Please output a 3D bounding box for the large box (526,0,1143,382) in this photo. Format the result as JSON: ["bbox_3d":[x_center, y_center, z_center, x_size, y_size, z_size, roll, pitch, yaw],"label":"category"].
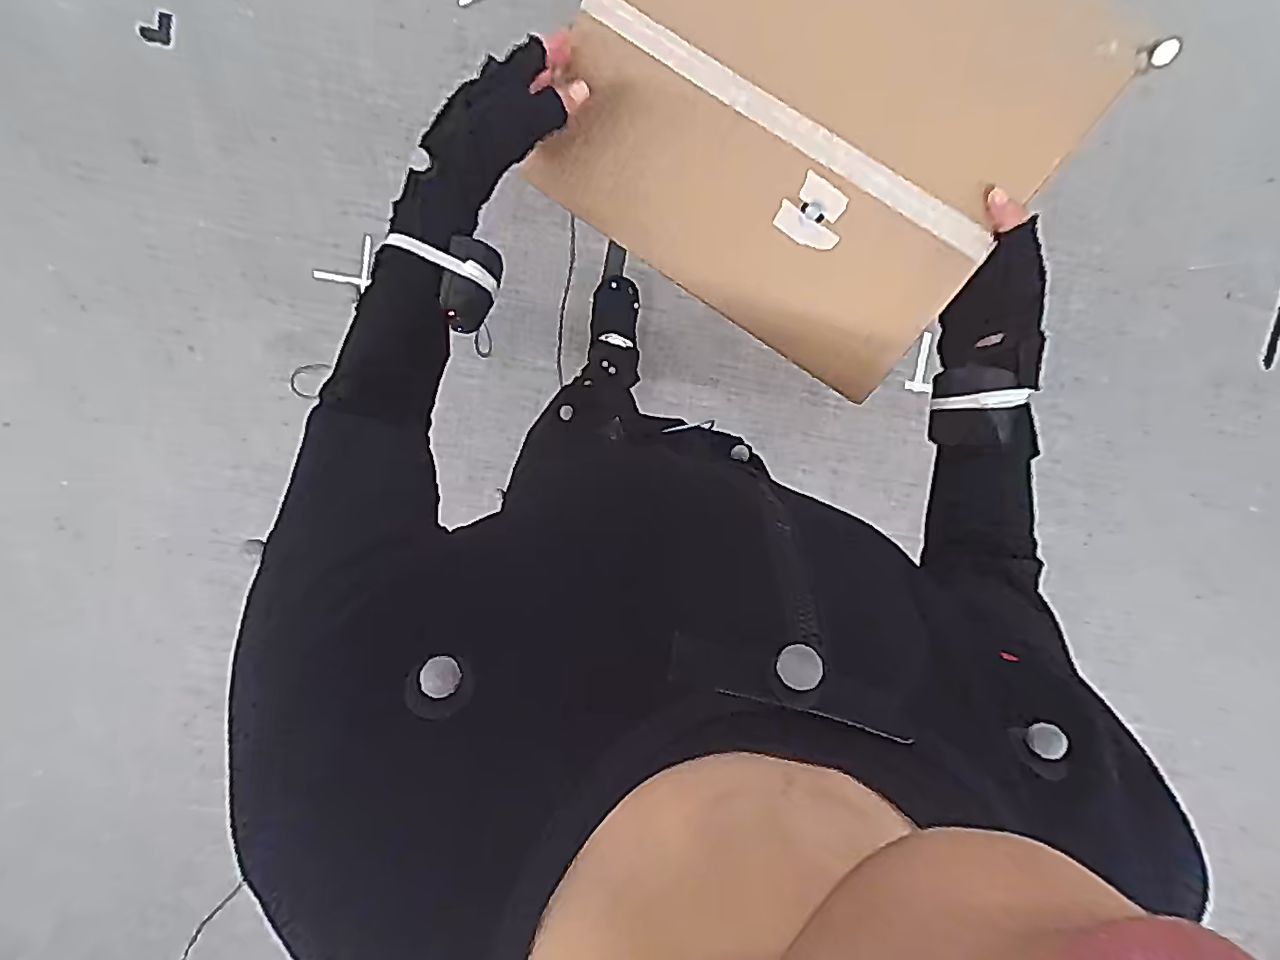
[{"bbox_3d":[0.162,-0.368,0.589,0.408,0.320,0.320,34,119,2],"label":"large box"}]
